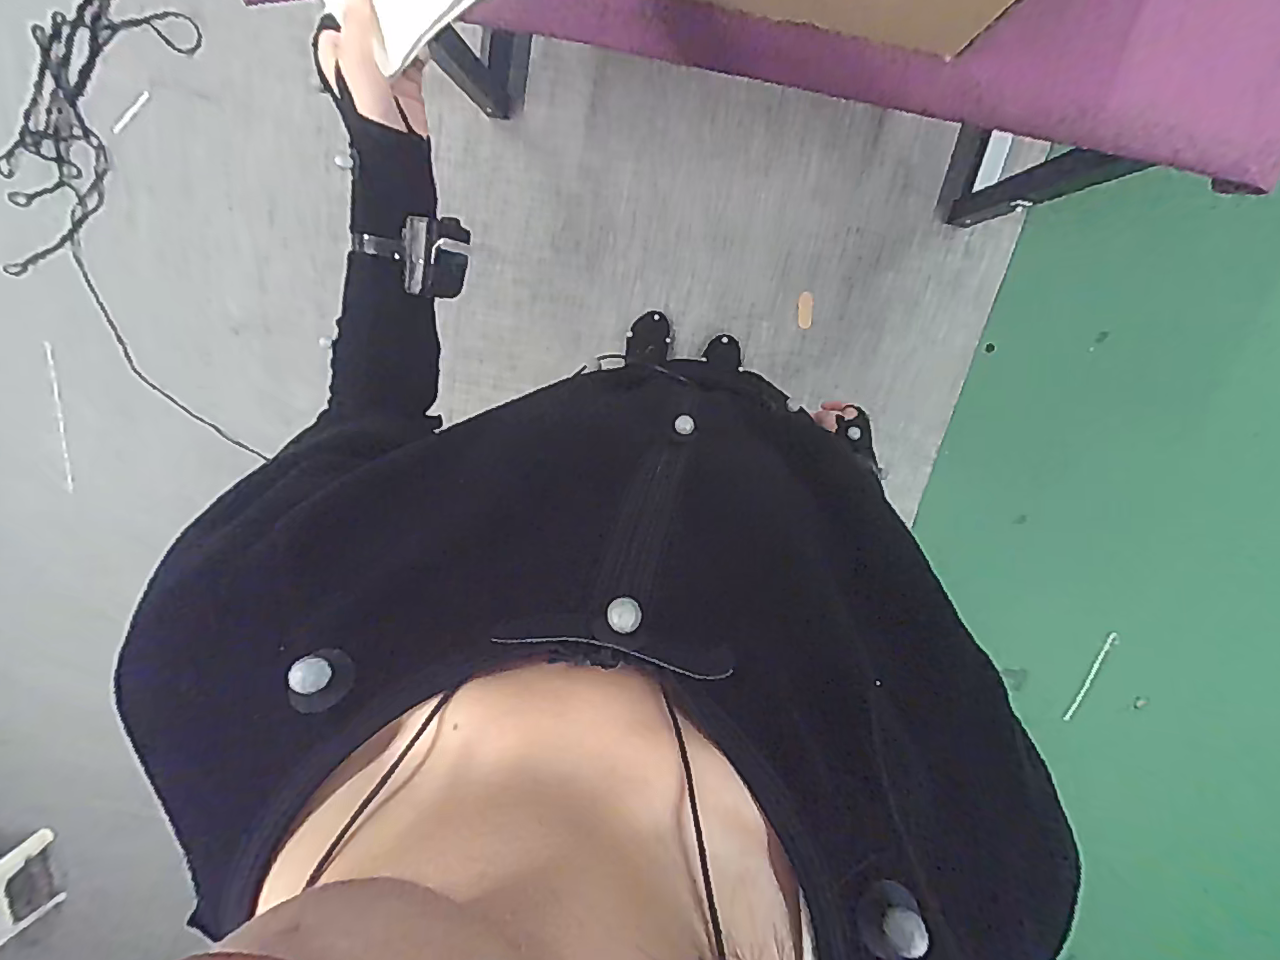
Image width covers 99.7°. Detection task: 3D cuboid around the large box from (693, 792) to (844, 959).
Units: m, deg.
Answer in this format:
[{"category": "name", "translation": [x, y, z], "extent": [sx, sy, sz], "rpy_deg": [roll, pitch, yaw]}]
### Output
[{"category": "large box", "translation": [0.379, 1.218, 1.681], "extent": [0.408, 0.320, 0.320], "rpy_deg": [-2, 106, 4]}]

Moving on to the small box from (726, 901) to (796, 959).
[{"category": "small box", "translation": [0.318, 1.272, 1.446], "extent": [0.168, 0.176, 0.179], "rpy_deg": [-1, 105, 5]}]
